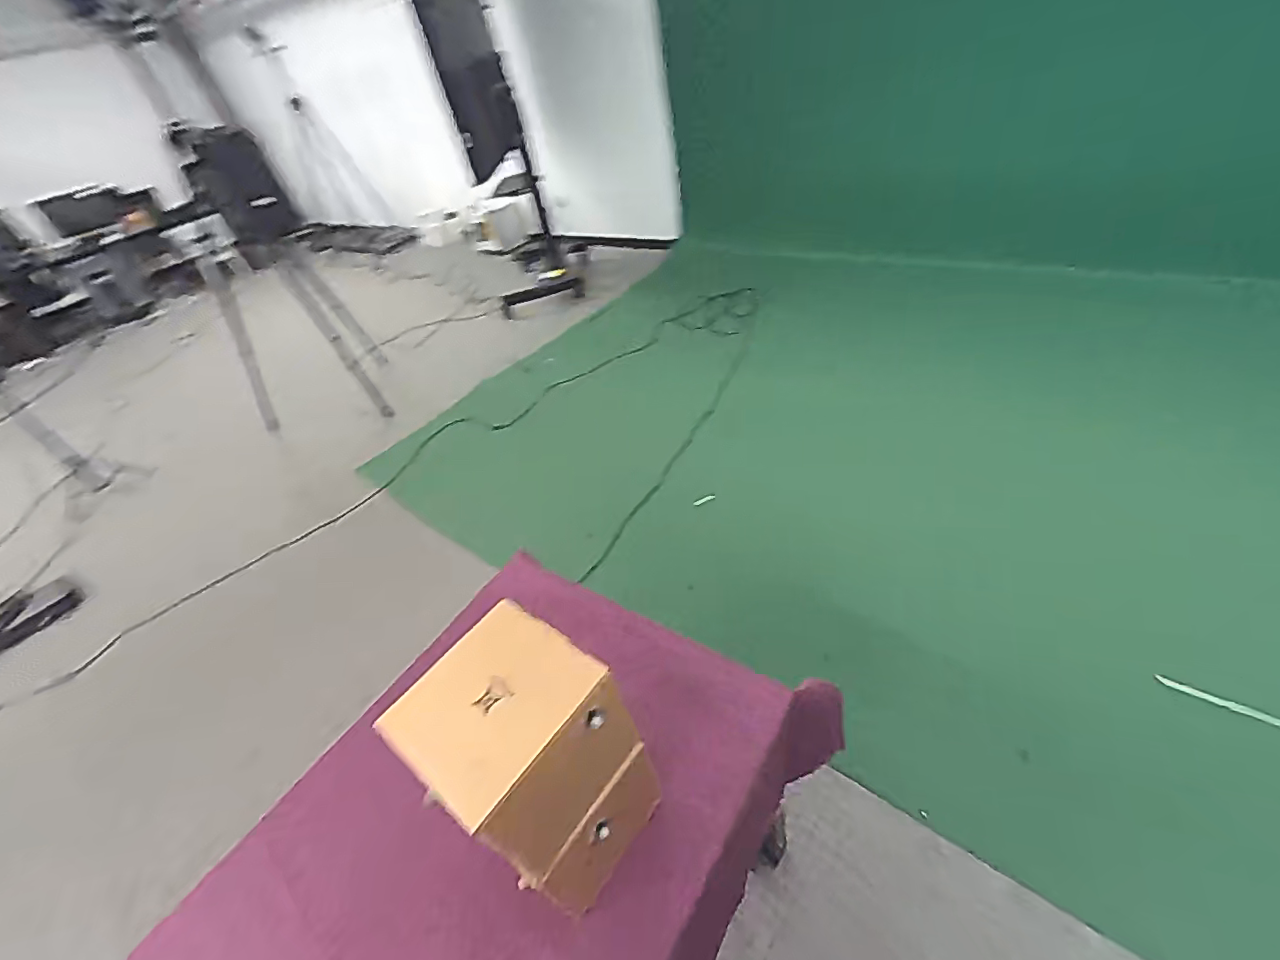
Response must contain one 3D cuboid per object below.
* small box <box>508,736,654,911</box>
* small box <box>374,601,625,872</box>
[{"bbox_3d":[-0.101,0.394,0.686,0.168,0.176,0.179,24,53,35],"label":"small box"},{"bbox_3d":[-0.136,0.273,0.584,0.168,0.176,0.179,21,52,34],"label":"small box"}]
